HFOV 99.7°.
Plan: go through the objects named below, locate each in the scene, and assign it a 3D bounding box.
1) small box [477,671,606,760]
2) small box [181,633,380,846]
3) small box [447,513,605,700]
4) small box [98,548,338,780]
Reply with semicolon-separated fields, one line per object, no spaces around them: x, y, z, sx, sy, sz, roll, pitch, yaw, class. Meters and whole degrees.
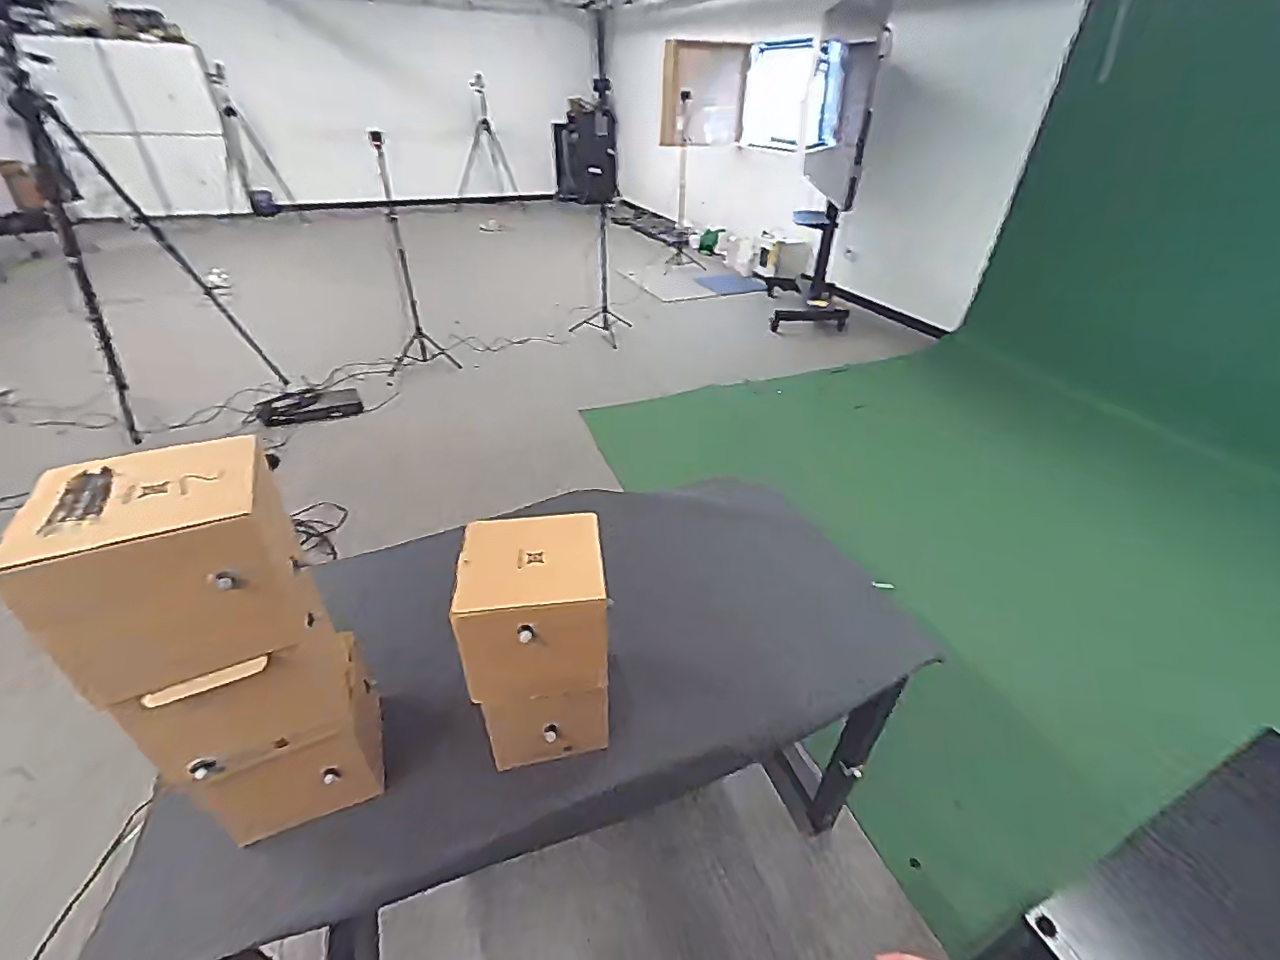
-0.147;0.295;0.816;0.168;0.176;0.179;-8;36;-12;small box
-0.465;0.348;0.735;0.179;0.176;0.168;-15;37;-20;small box
-0.139;0.165;0.716;0.179;0.176;0.168;-5;35;-7;small box
-0.472;0.216;0.637;0.168;0.176;0.179;-16;37;-24;small box
